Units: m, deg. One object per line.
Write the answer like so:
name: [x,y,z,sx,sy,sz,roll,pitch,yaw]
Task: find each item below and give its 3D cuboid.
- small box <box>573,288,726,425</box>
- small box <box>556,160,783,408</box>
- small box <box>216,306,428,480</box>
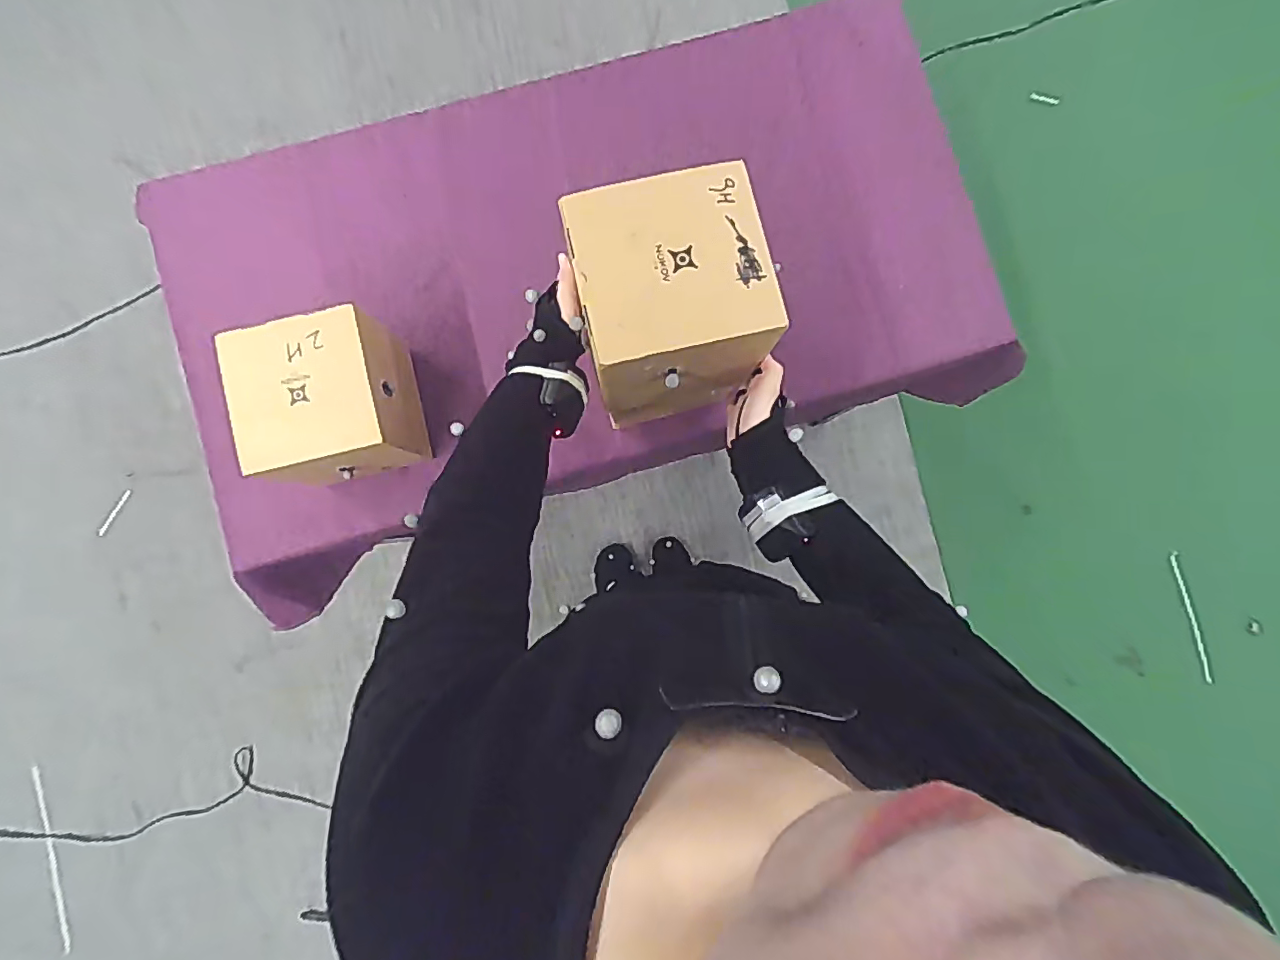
small box: [0.021,-0.182,0.725,0.179,0.176,0.168,-15,86,-3]
small box: [0.025,-0.184,0.557,0.179,0.176,0.168,-12,84,-2]
small box: [-0.399,-0.100,0.709,0.168,0.176,0.179,-14,86,-3]
